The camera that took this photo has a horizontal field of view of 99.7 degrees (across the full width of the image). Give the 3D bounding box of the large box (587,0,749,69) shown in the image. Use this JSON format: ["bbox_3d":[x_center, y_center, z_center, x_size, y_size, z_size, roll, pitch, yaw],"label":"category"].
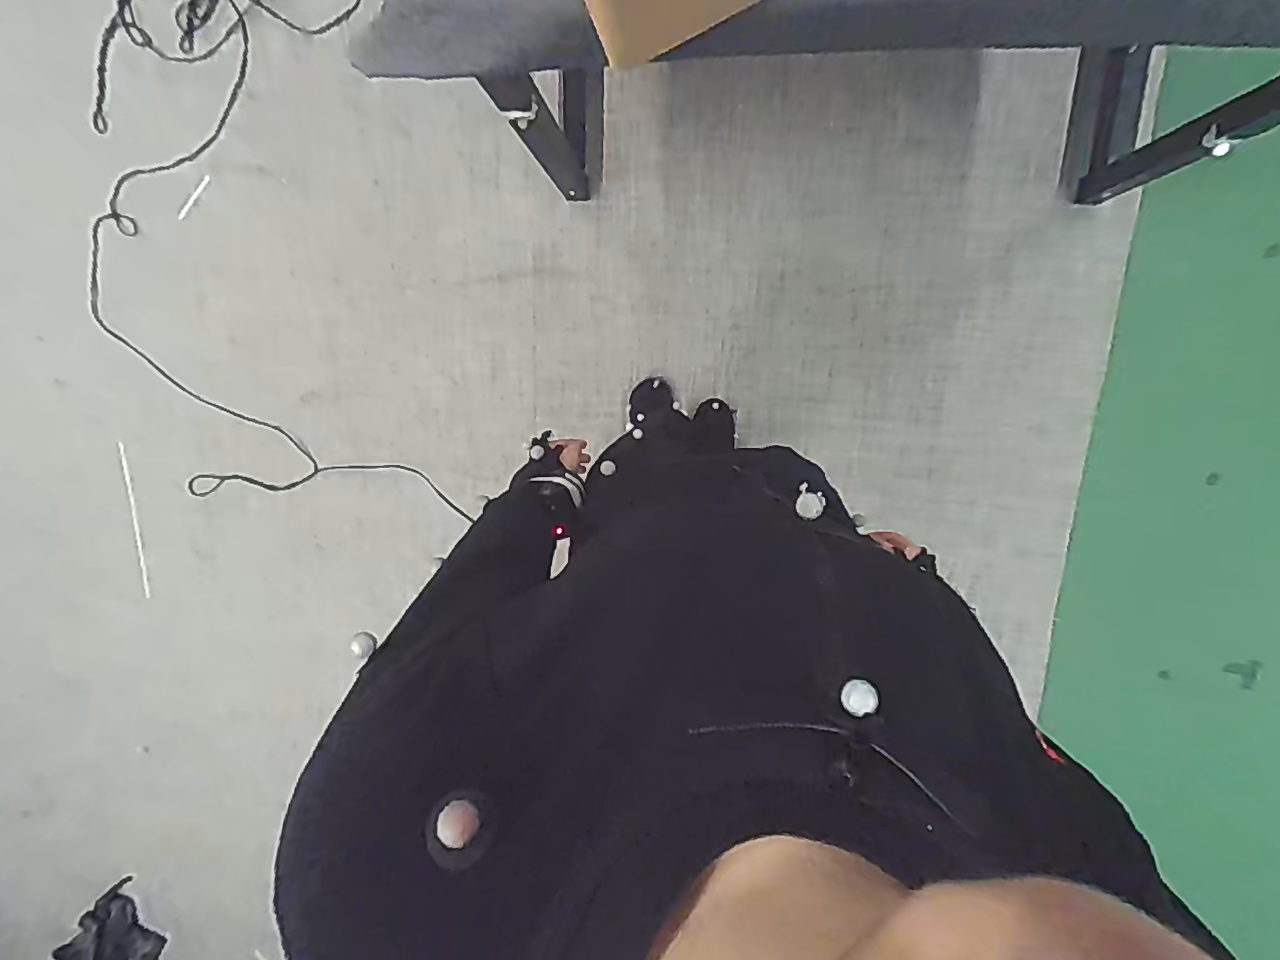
[{"bbox_3d":[0.081,-0.608,0.367,0.408,0.320,0.320,-23,98,7],"label":"large box"}]
